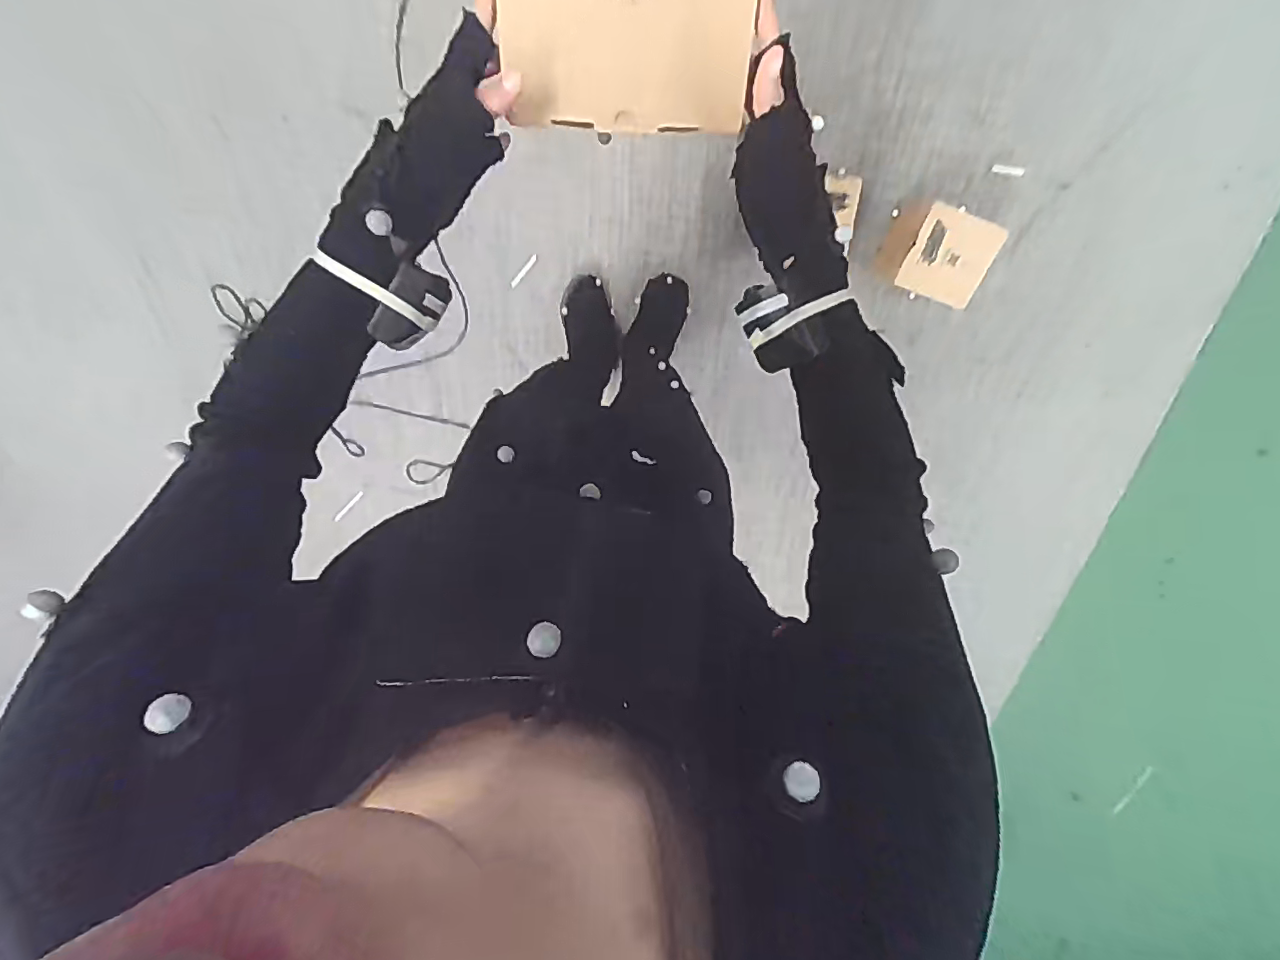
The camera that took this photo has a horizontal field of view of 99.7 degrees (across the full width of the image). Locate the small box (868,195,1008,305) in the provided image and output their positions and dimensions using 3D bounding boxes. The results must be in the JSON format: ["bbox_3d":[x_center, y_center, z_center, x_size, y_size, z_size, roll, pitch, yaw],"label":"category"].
[{"bbox_3d":[0.628,-0.498,1.170,0.179,0.176,0.168,16,117,-8],"label":"small box"}]

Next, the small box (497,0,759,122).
[{"bbox_3d":[-0.012,-0.364,0.385,0.168,0.176,0.179,0,125,-4],"label":"small box"}]
